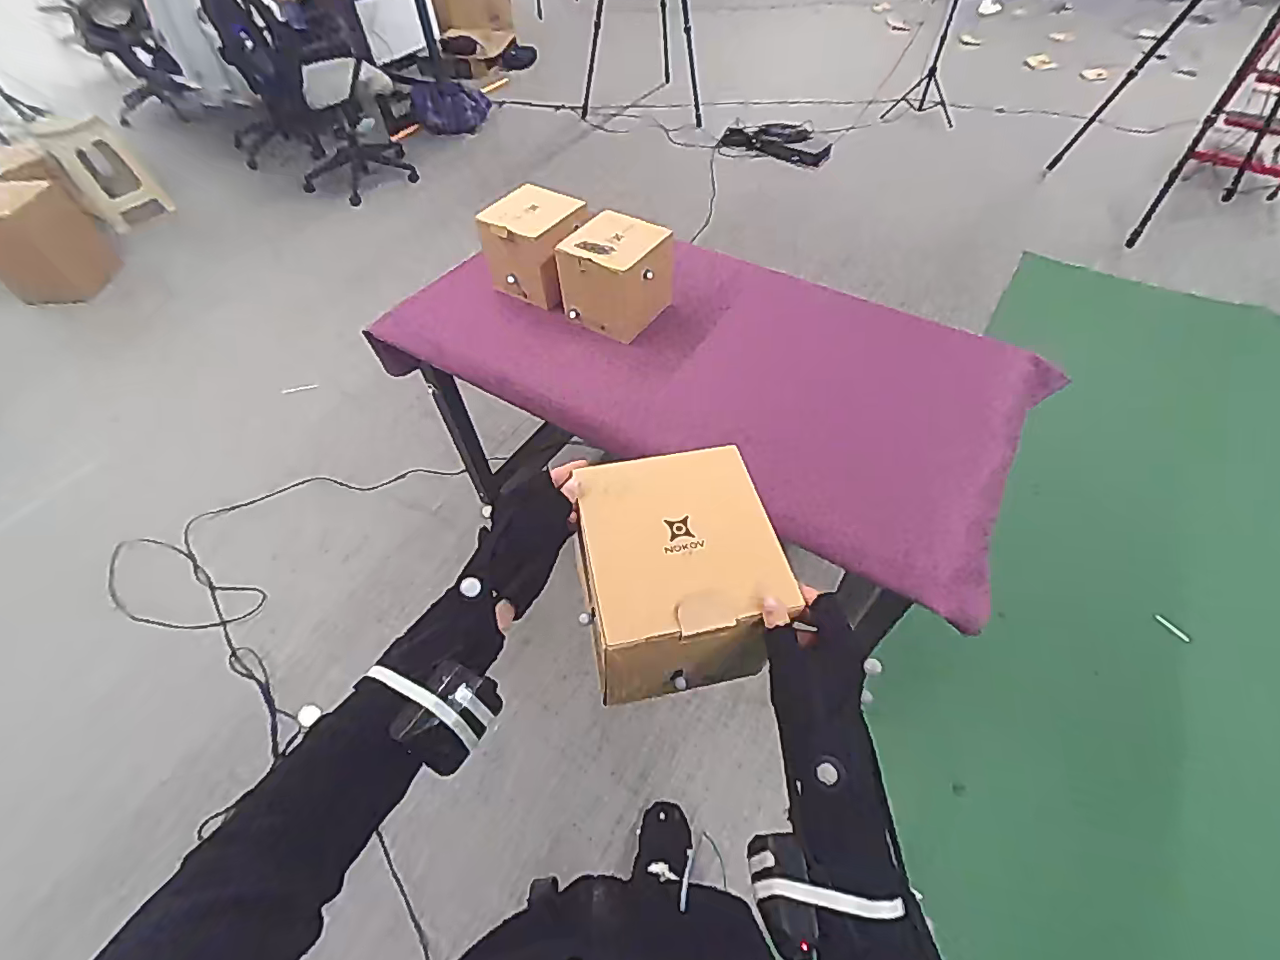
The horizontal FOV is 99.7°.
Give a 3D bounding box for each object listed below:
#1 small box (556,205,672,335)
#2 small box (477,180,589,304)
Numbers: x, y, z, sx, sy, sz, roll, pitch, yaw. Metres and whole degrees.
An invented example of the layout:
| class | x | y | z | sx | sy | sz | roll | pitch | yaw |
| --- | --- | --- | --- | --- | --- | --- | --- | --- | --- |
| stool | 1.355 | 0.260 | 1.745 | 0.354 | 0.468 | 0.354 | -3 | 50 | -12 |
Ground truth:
| class | x | y | z | sx | sy | sz | roll | pitch | yaw |
| --- | --- | --- | --- | --- | --- | --- | --- | --- | --- |
| small box | -0.046 | -0.429 | 1.115 | 0.168 | 0.176 | 0.179 | 28 | 59 | 20 |
| small box | -0.223 | -0.523 | 1.191 | 0.168 | 0.176 | 0.179 | 27 | 59 | 21 |
